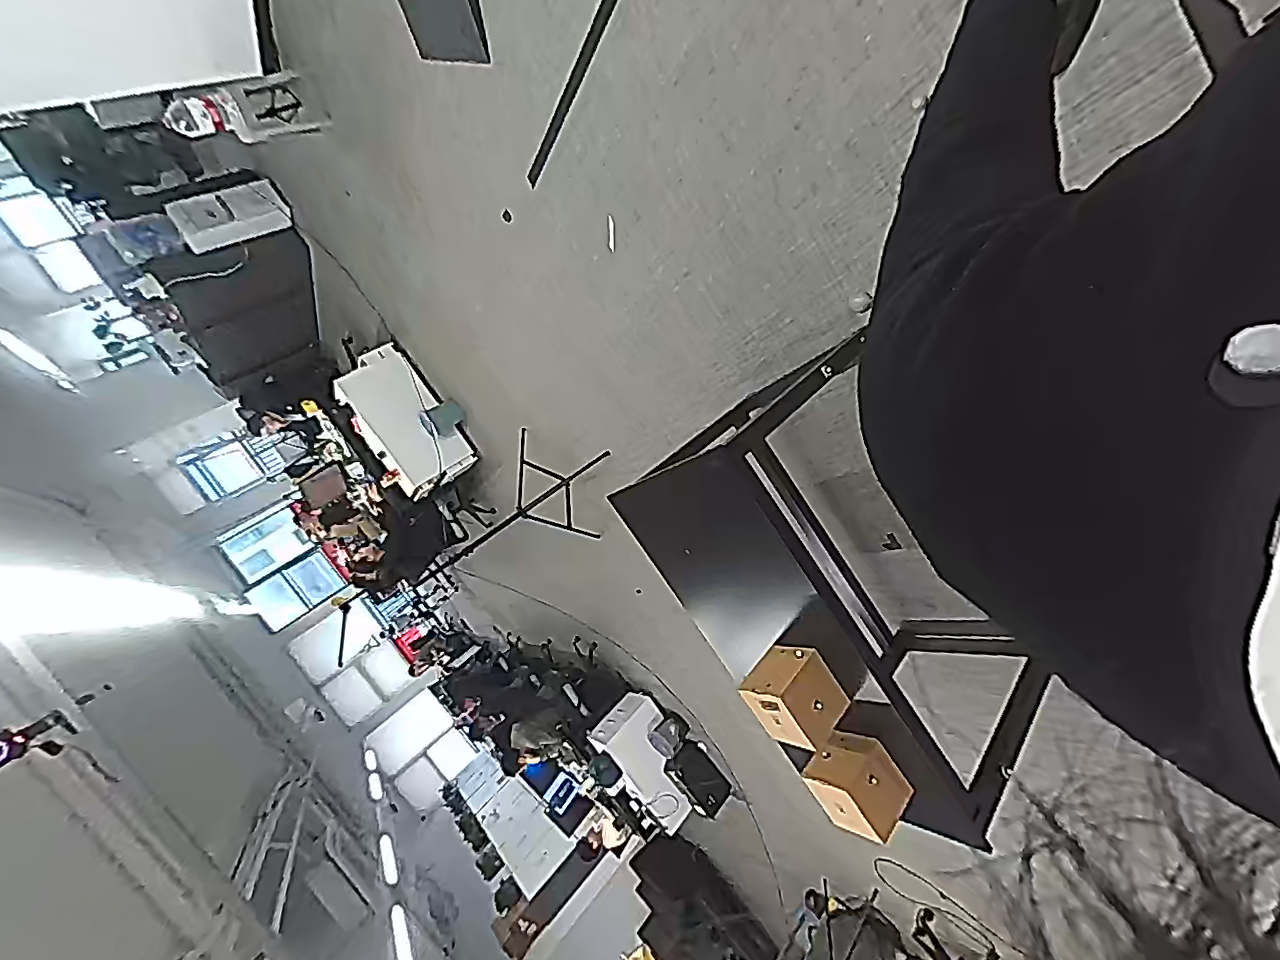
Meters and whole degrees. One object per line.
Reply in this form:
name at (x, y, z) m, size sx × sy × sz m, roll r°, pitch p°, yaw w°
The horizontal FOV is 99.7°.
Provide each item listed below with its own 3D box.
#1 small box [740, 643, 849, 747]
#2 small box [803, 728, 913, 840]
small box at (0.401, 0.546, 1.398) m, size 0.179 × 0.176 × 0.168 m, roll 55°, pitch 151°, yaw -7°
small box at (0.573, 0.785, 1.421) m, size 0.179 × 0.176 × 0.168 m, roll 54°, pitch 151°, yaw -4°
